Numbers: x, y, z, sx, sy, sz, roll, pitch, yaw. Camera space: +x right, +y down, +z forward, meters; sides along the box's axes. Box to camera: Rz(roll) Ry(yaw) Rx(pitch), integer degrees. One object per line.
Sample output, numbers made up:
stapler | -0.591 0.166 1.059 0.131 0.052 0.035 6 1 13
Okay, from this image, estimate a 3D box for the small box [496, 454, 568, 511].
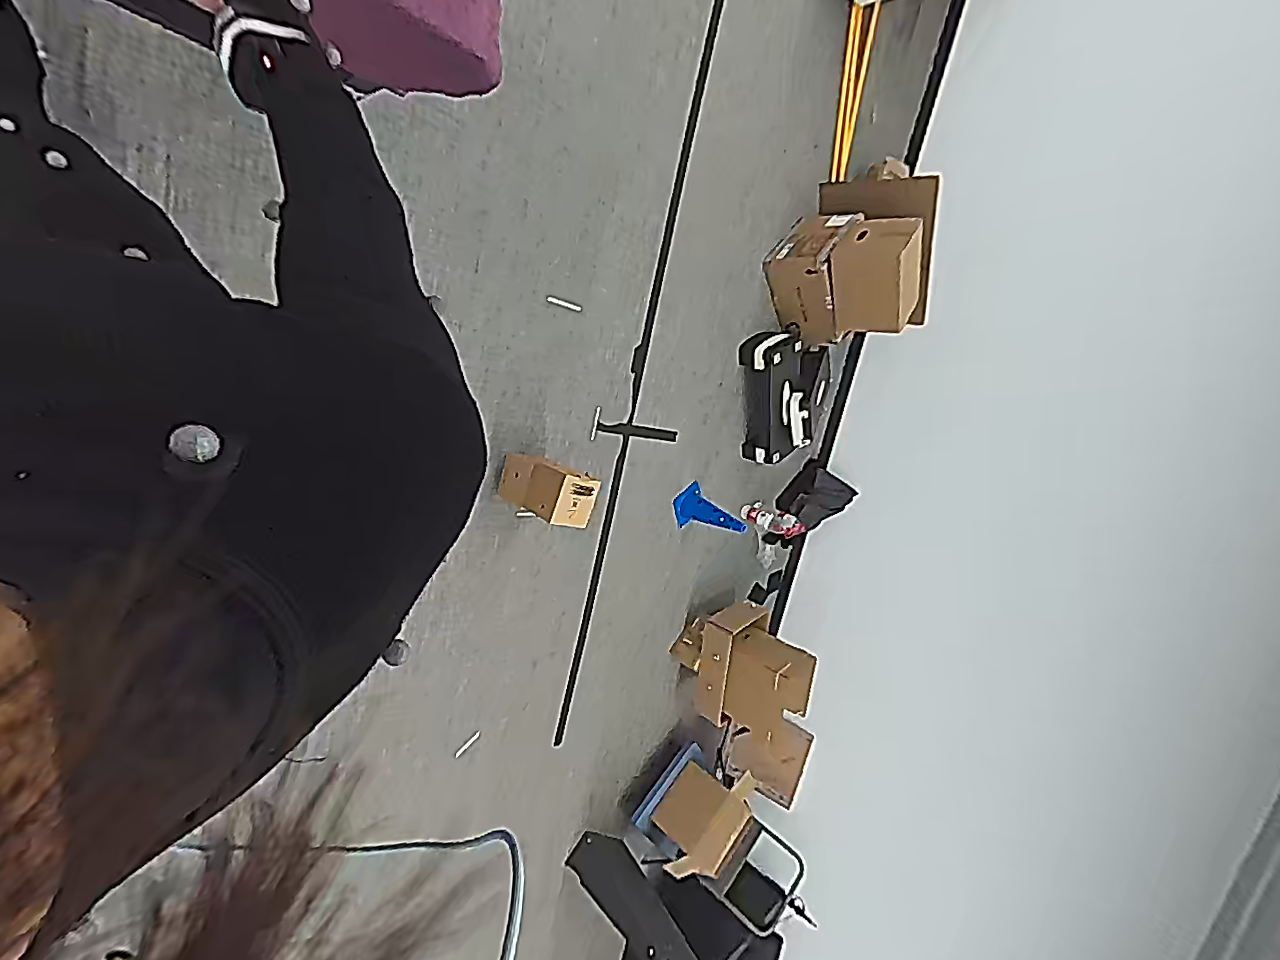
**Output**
small box | -0.396 0.008 1.967 0.179 0.176 0.168 7 102 -49
